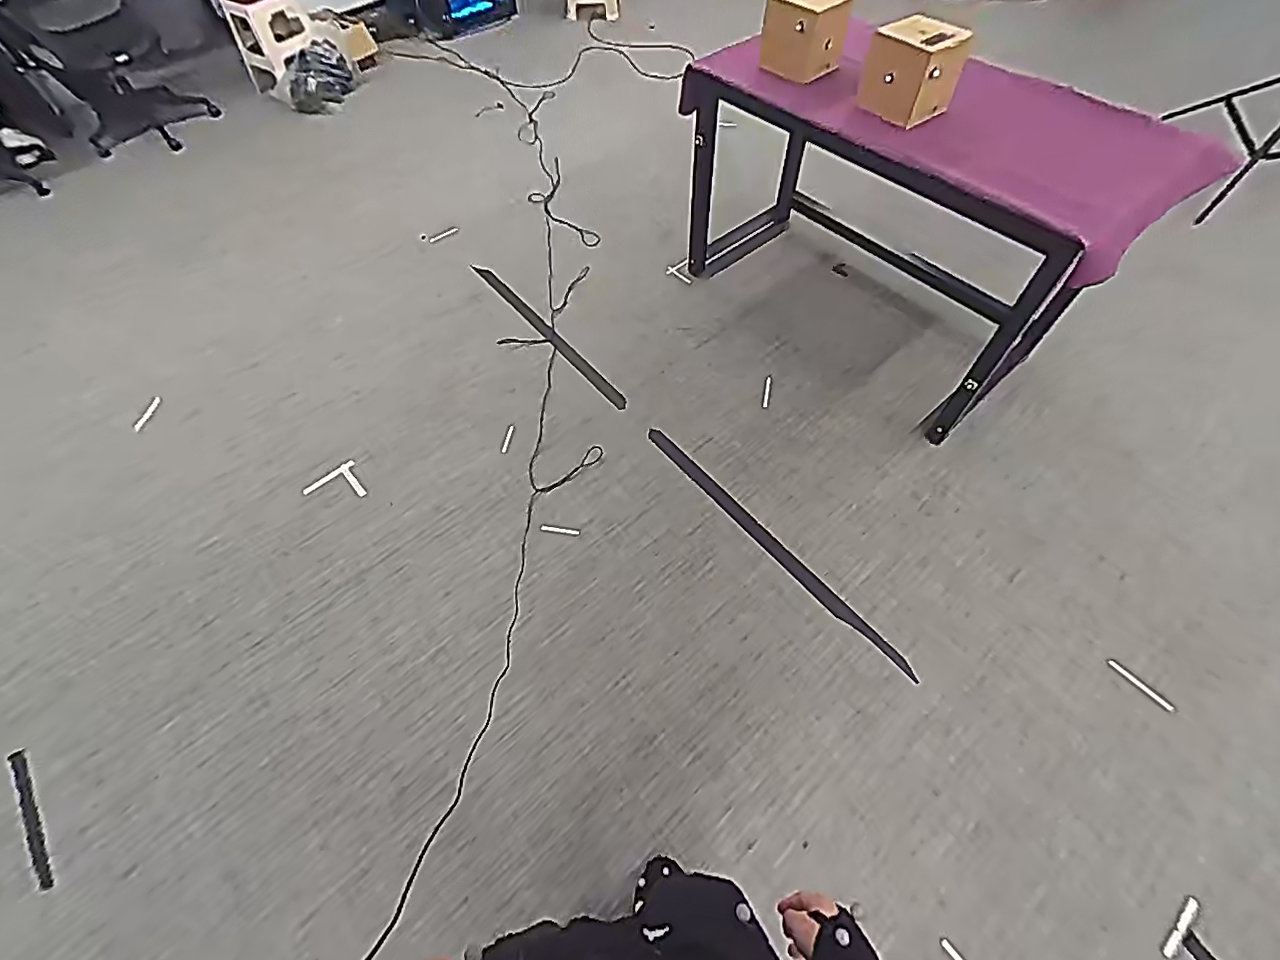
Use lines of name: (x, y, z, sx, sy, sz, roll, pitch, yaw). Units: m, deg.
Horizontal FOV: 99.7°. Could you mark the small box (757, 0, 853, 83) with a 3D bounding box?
small box: (0.454, -1.247, 1.516, 0.168, 0.176, 0.179, -38, 64, -22)
